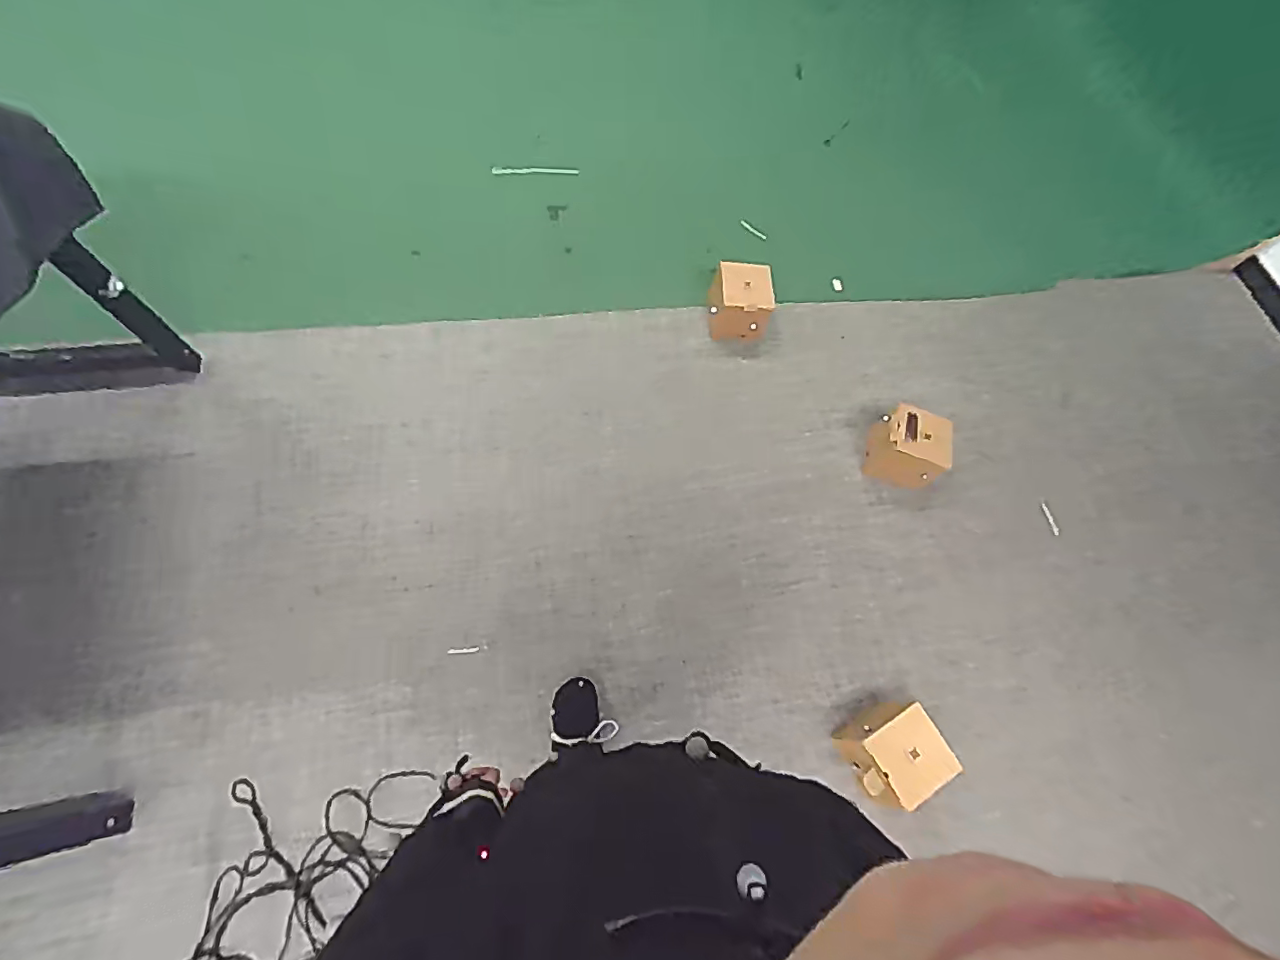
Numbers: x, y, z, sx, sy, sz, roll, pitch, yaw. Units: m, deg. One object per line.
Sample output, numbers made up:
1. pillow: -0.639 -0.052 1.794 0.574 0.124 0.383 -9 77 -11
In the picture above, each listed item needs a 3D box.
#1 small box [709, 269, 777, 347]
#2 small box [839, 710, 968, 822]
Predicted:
1. small box: 0.329 -0.554 1.759 0.168 0.176 0.179 2 66 -9
2. small box: 0.611 0.661 1.276 0.179 0.176 0.168 -26 73 -16
